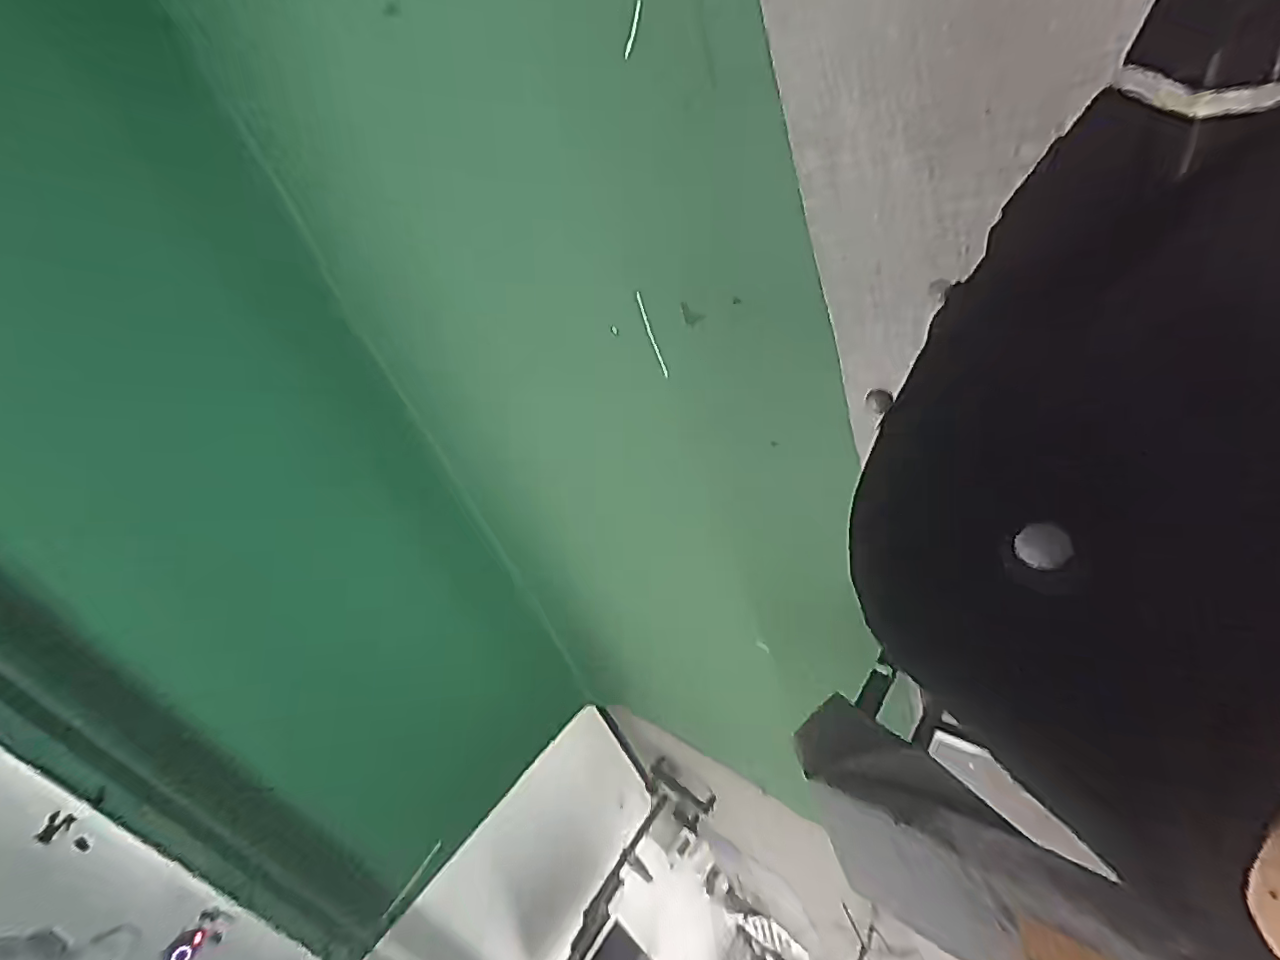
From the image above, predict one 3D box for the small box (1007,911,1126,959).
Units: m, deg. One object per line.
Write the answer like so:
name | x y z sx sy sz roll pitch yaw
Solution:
small box | 0.843 1.007 1.072 0.179 0.176 0.168 7 131 46
